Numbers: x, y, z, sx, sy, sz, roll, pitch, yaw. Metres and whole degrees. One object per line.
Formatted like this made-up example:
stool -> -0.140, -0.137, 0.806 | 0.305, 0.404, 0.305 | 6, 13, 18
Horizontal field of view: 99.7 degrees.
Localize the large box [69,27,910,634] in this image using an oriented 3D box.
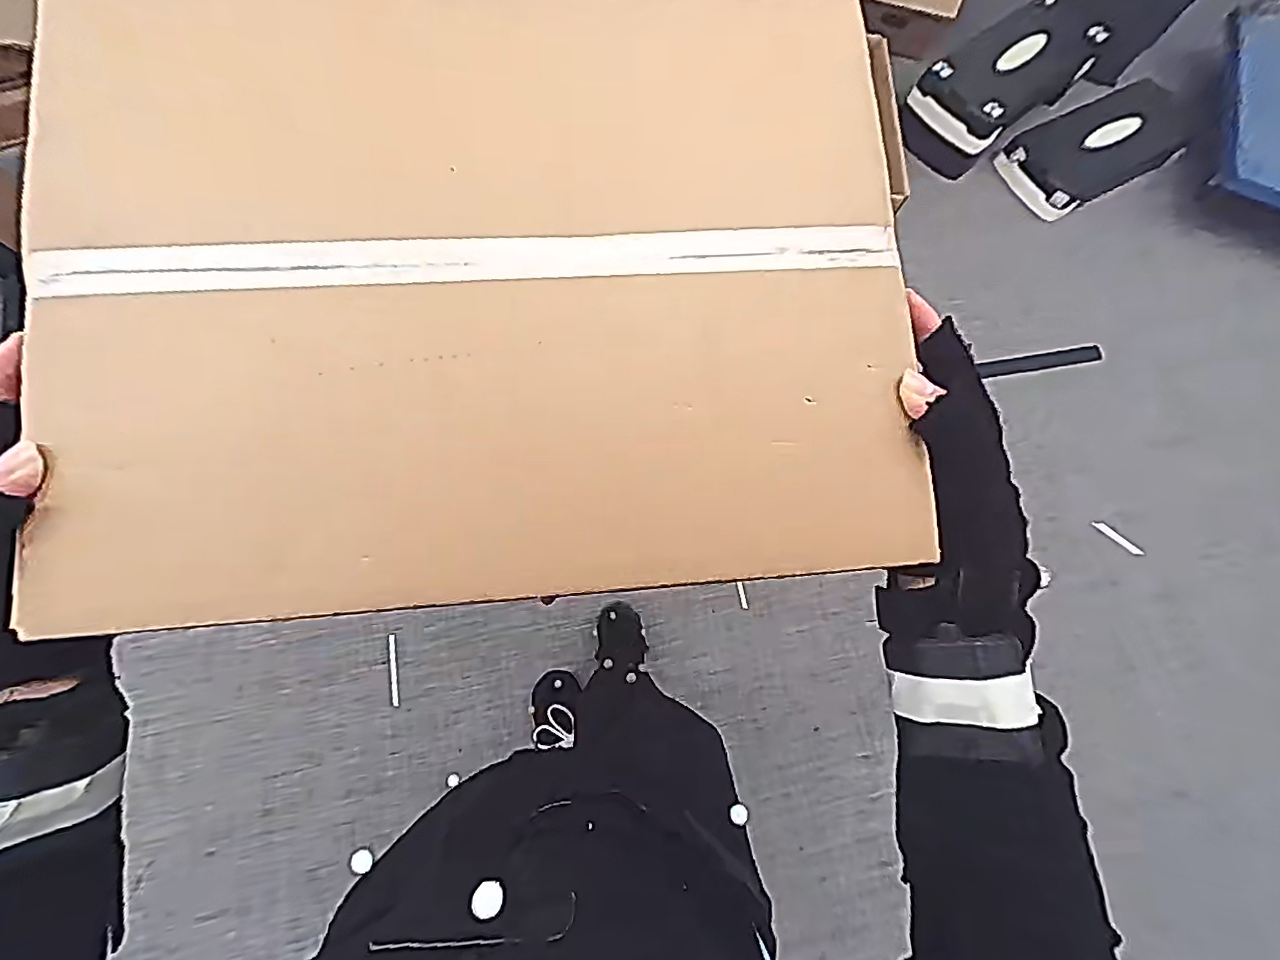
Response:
large box -> -0.083, -0.077, 0.424 | 0.408, 0.320, 0.320 | -4, 83, -5
